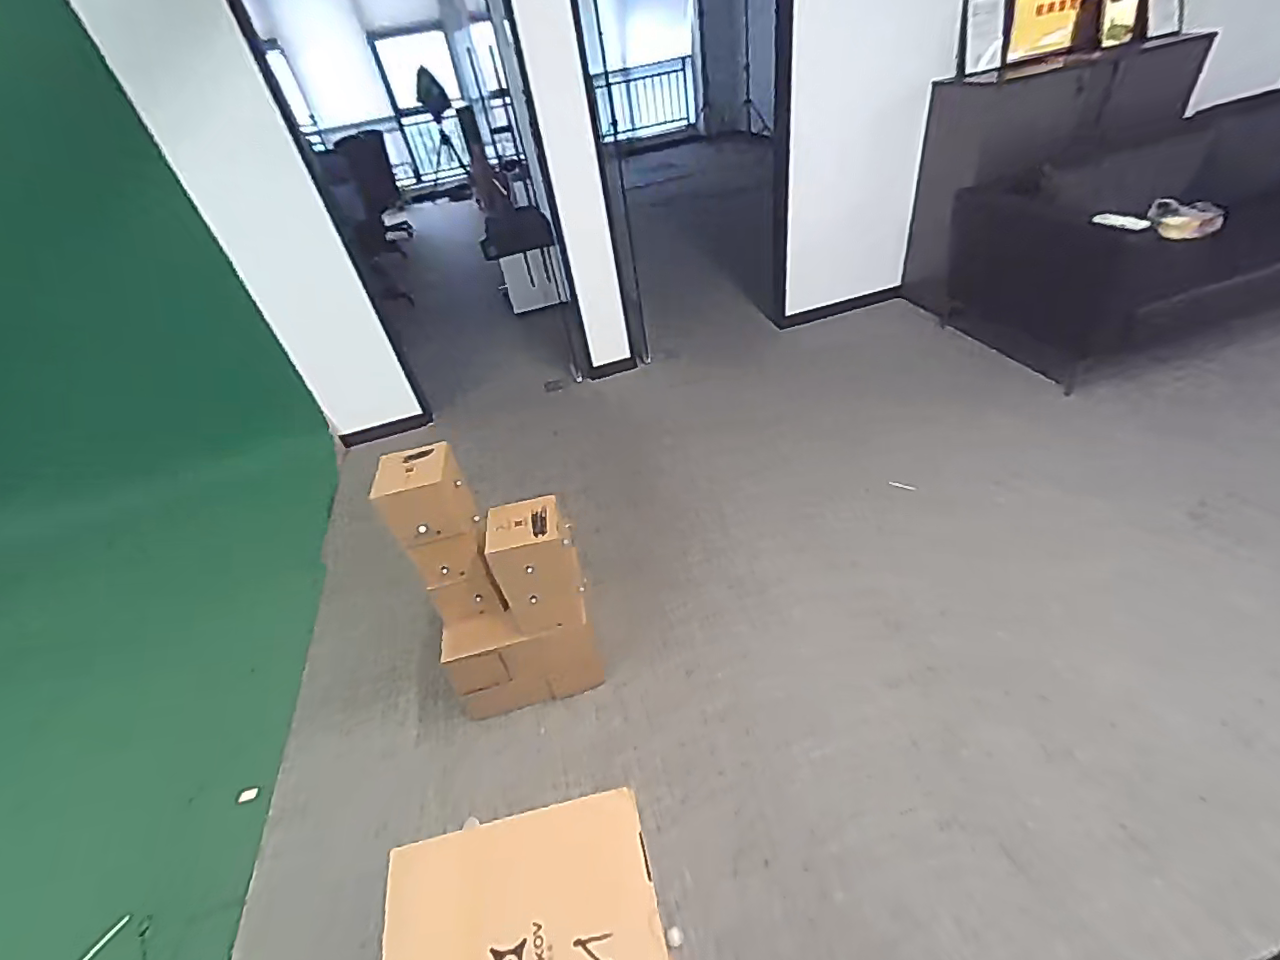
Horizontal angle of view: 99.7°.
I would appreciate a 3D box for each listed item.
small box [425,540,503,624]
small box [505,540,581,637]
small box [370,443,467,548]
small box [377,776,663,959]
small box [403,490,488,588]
[{"bbox_3d":[-0.495,0.288,1.545,0.168,0.176,0.179,-14,37,-4],"label":"small box"},{"bbox_3d":[-0.262,0.296,1.474,0.168,0.176,0.179,-13,37,-3],"label":"small box"},{"bbox_3d":[-0.536,0.038,1.338,0.168,0.176,0.179,-14,39,-4],"label":"small box"},{"bbox_3d":[-0.074,0.348,0.395,0.179,0.176,0.168,-10,46,-8],"label":"small box"},{"bbox_3d":[-0.515,0.157,1.448,0.168,0.176,0.179,-14,39,-4],"label":"small box"}]
